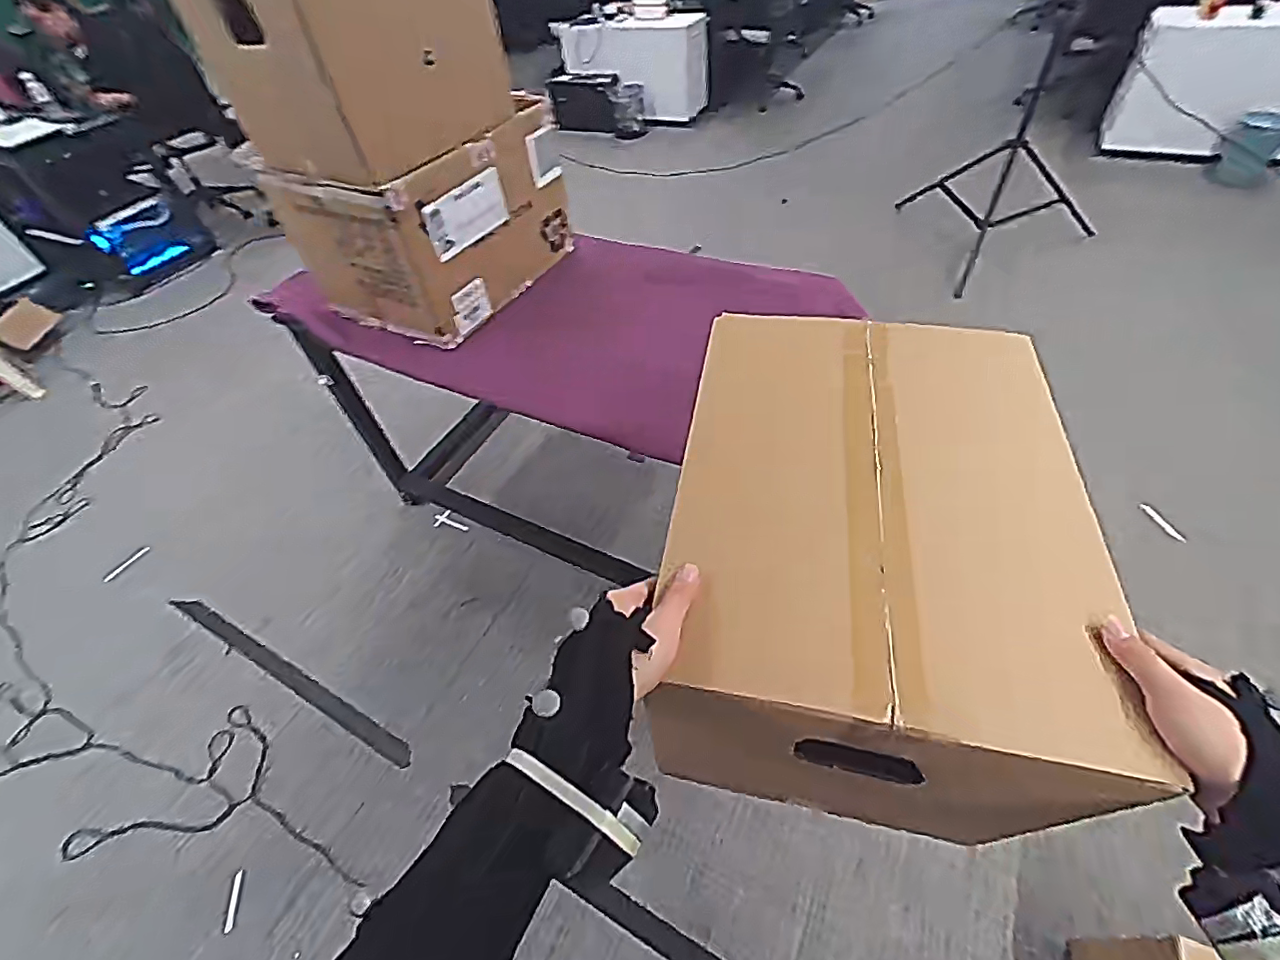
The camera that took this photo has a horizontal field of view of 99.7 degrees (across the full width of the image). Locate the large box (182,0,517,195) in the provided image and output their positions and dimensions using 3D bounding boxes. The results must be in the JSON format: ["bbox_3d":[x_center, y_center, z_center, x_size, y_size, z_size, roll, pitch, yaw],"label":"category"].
[{"bbox_3d":[-0.493,-0.777,0.996,0.320,0.320,0.408,18,54,23],"label":"large box"}]
